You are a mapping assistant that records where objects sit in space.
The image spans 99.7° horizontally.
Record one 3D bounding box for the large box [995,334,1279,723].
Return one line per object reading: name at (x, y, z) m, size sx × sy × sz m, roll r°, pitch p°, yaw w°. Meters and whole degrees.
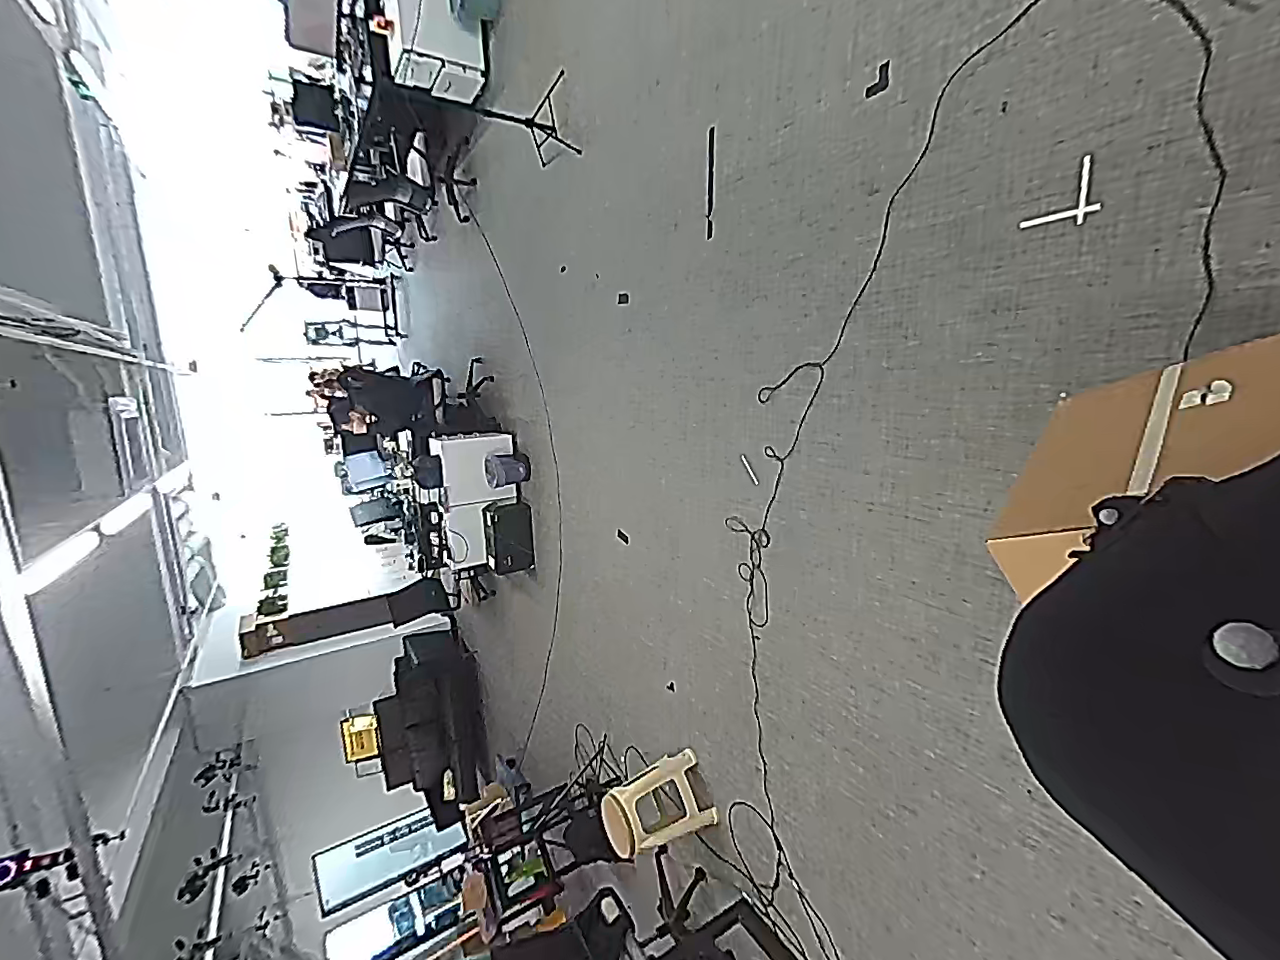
large box at (0.760, 0.059, 0.720) m, size 0.320 × 0.408 × 0.320 m, roll 56°, pitch 148°, yaw -8°
